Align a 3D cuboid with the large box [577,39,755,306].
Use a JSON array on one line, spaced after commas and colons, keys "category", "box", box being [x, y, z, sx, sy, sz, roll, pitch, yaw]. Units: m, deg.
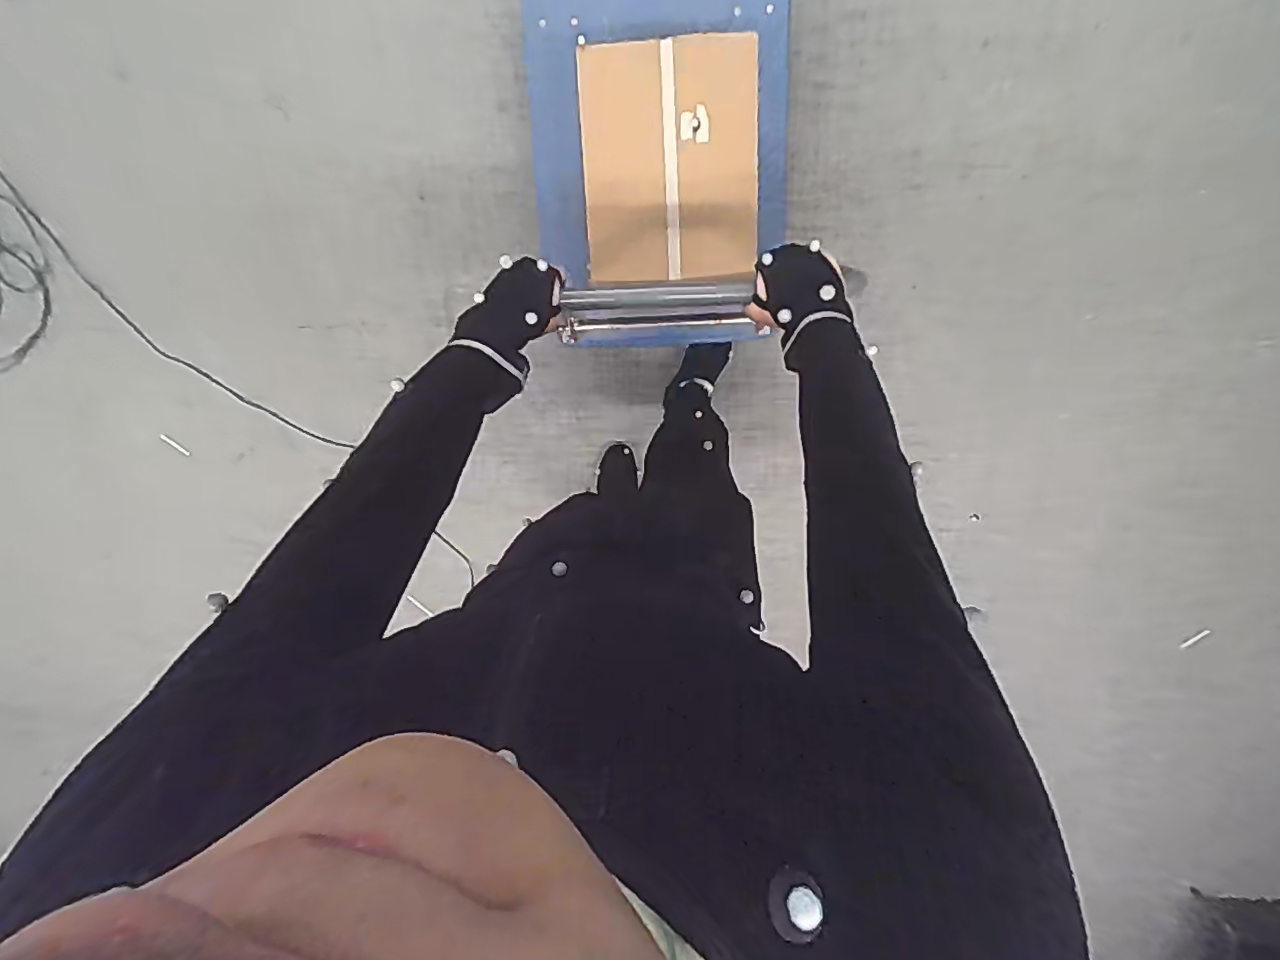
[{"category": "large box", "box": [0.060, -0.594, 1.128, 0.320, 0.320, 0.408, -2, 103, 2]}]
